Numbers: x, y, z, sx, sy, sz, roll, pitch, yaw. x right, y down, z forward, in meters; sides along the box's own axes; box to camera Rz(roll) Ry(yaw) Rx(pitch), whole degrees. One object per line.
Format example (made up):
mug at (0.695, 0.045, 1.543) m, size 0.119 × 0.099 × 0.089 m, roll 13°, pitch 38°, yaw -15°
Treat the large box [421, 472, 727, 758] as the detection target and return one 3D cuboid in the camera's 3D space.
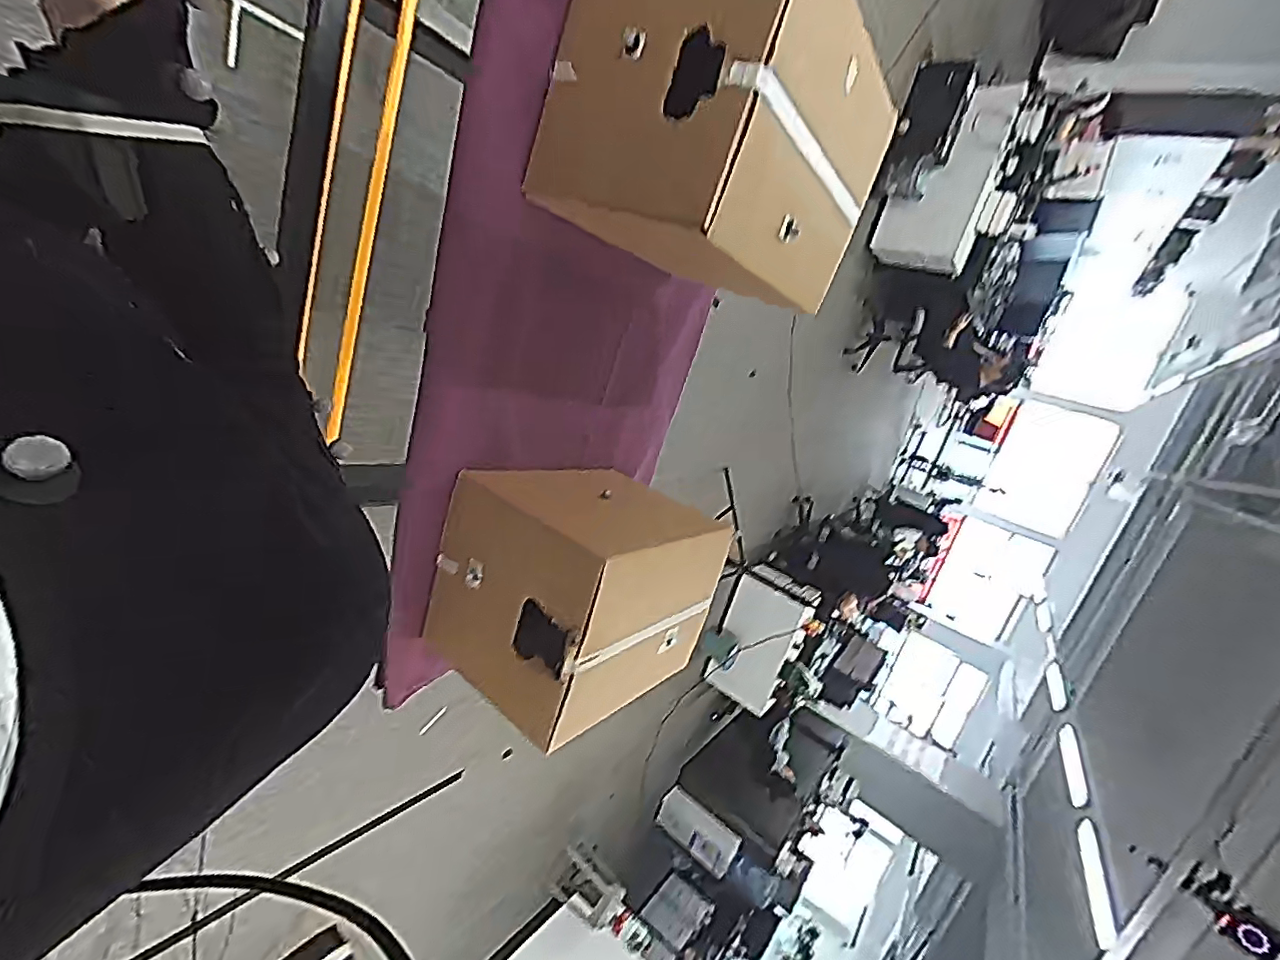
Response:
large box at (-0.104, 0.185, 0.951) m, size 0.408 × 0.320 × 0.320 m, roll -4°, pitch 116°, yaw -57°
